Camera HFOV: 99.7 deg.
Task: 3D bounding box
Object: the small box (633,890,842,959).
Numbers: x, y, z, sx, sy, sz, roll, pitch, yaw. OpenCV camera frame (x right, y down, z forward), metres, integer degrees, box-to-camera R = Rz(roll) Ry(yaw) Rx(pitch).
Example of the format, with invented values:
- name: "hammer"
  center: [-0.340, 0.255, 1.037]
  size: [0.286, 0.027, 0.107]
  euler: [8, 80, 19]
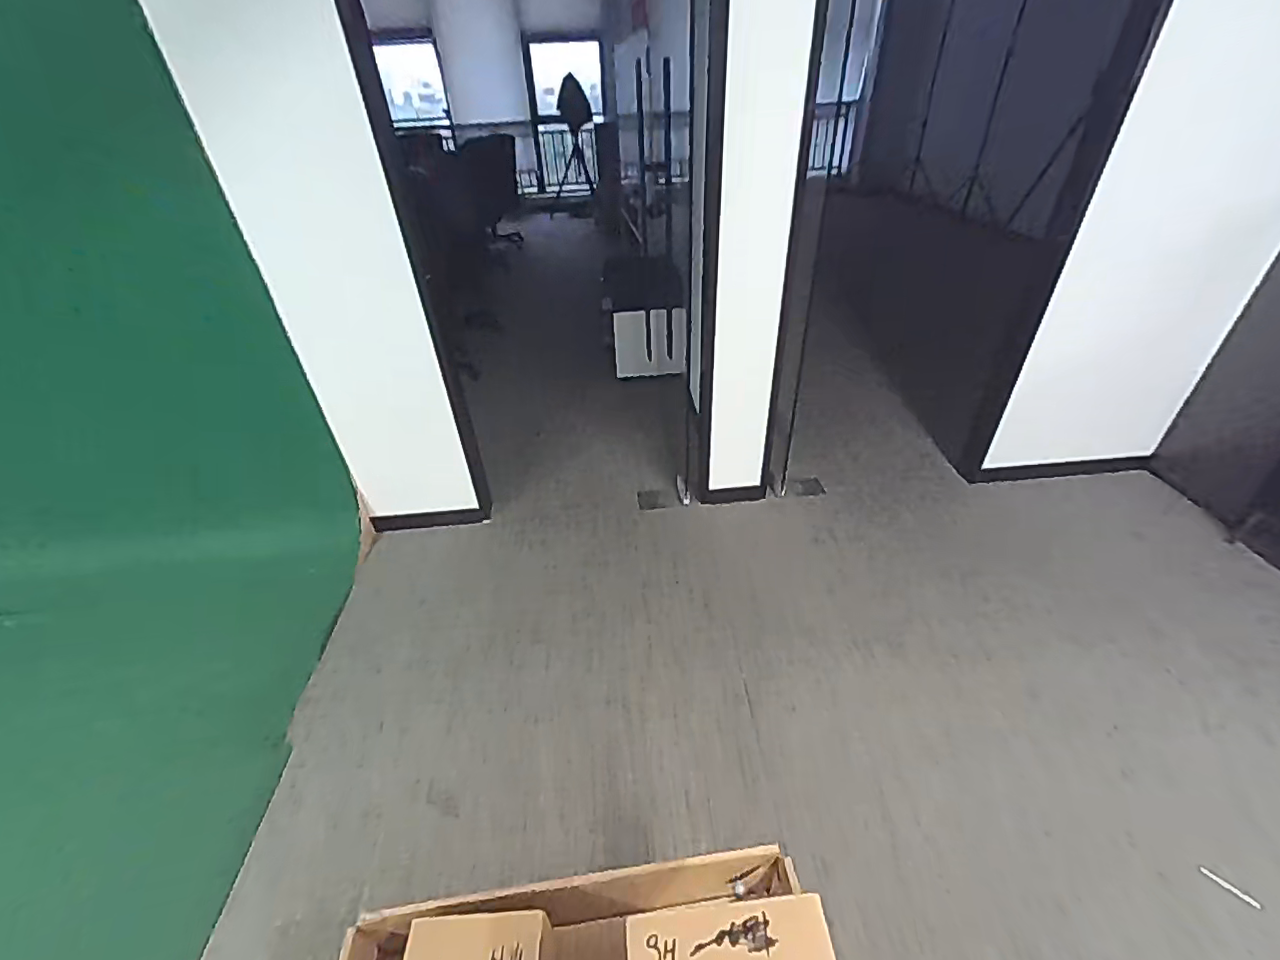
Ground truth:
- name: "small box"
  center: [0.089, 0.467, 0.462]
  size: [0.168, 0.176, 0.179]
  euler: [-7, 51, 1]
